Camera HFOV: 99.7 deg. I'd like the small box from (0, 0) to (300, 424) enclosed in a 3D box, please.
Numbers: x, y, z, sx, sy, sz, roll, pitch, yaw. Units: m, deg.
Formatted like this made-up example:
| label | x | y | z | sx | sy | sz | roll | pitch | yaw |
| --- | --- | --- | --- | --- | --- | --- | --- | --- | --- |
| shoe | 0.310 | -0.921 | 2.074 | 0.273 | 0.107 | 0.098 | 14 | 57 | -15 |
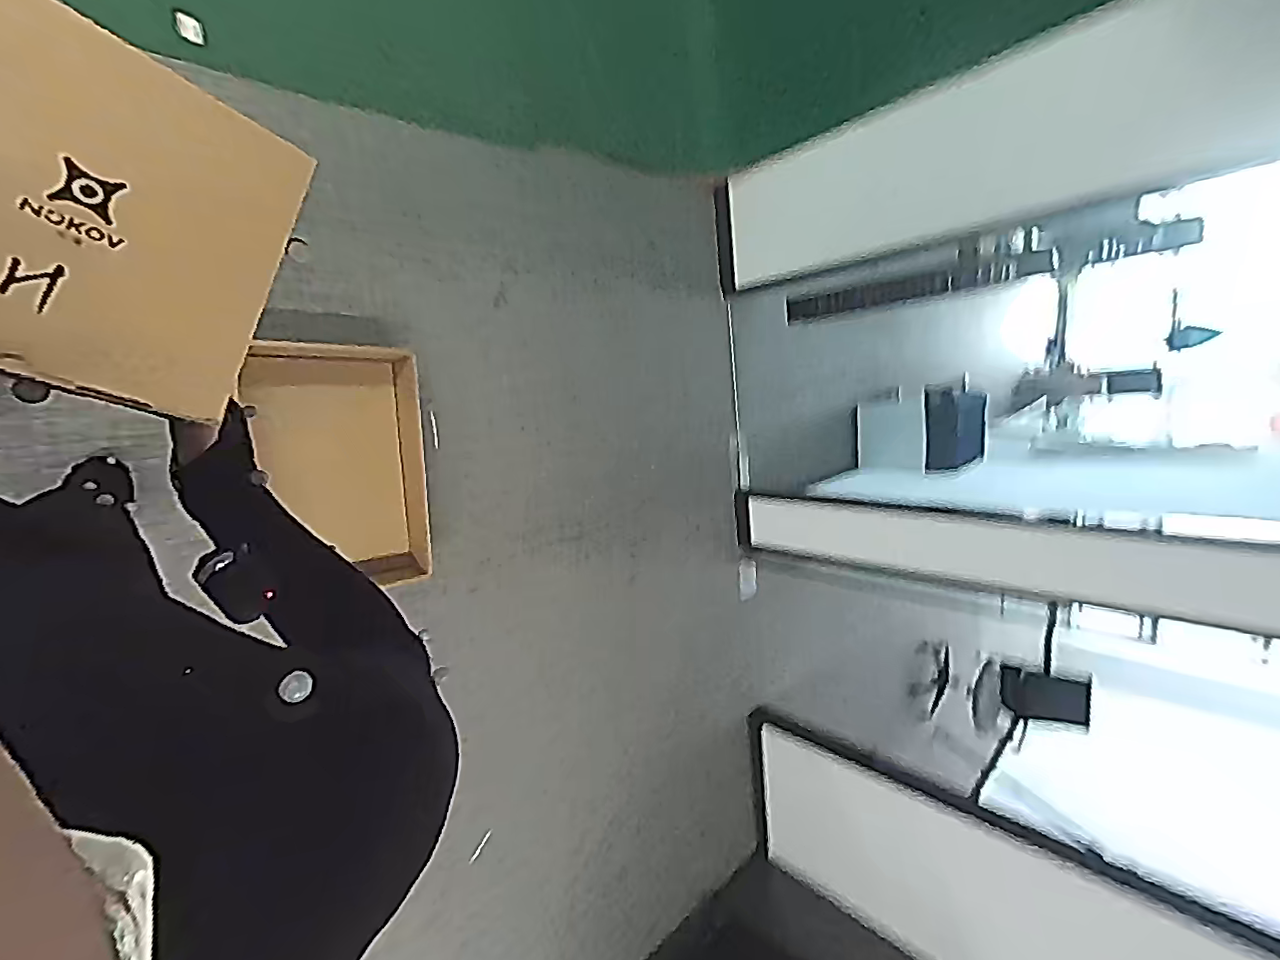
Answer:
| label | x | y | z | sx | sy | sz | roll | pitch | yaw |
| --- | --- | --- | --- | --- | --- | --- | --- | --- | --- |
| small box | -0.333 | -0.143 | 0.316 | 0.168 | 0.176 | 0.179 | 20 | 83 | -43 |
